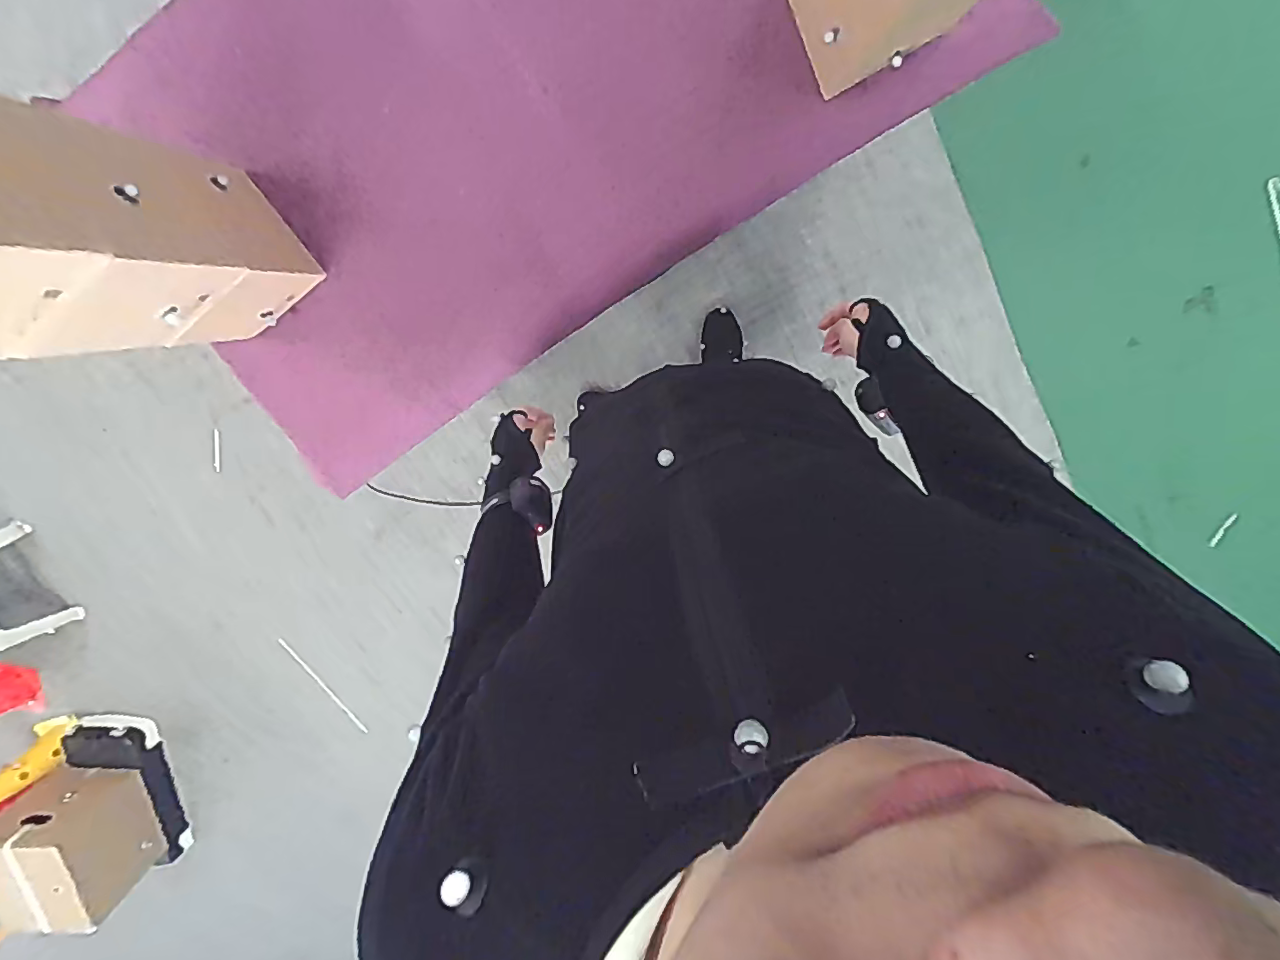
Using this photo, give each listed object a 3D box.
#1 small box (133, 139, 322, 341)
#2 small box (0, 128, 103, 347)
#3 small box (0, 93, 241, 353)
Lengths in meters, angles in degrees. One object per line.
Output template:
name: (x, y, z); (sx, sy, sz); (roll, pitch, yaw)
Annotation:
small box: (-0.591, -0.310, 0.735); (0.168, 0.176, 0.179); (-32, 105, 13)
small box: (-0.606, -0.207, 0.427); (0.168, 0.176, 0.179); (-33, 104, 14)
small box: (-0.598, -0.260, 0.580); (0.168, 0.176, 0.179); (-32, 105, 13)
